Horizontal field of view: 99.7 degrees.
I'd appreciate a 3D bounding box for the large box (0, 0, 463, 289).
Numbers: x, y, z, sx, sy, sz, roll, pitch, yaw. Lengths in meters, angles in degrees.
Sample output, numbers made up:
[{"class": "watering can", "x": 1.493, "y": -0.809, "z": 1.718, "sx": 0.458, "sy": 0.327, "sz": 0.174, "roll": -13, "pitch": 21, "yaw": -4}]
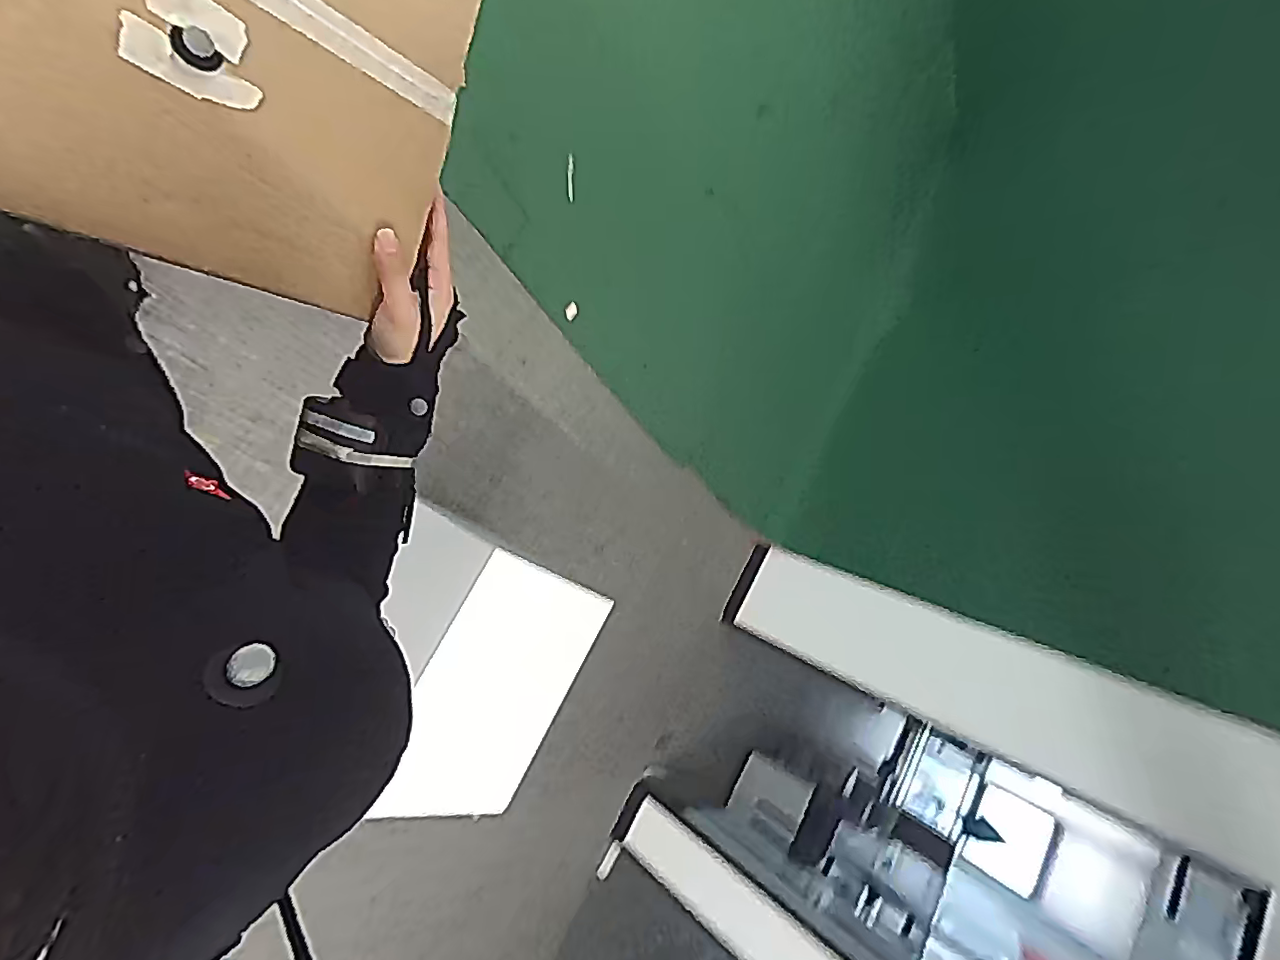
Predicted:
[{"class": "large box", "x": -0.370, "y": -0.348, "z": 0.317, "sx": 0.408, "sy": 0.320, "sz": 0.320, "roll": 5, "pitch": 110, "yaw": -50}]
